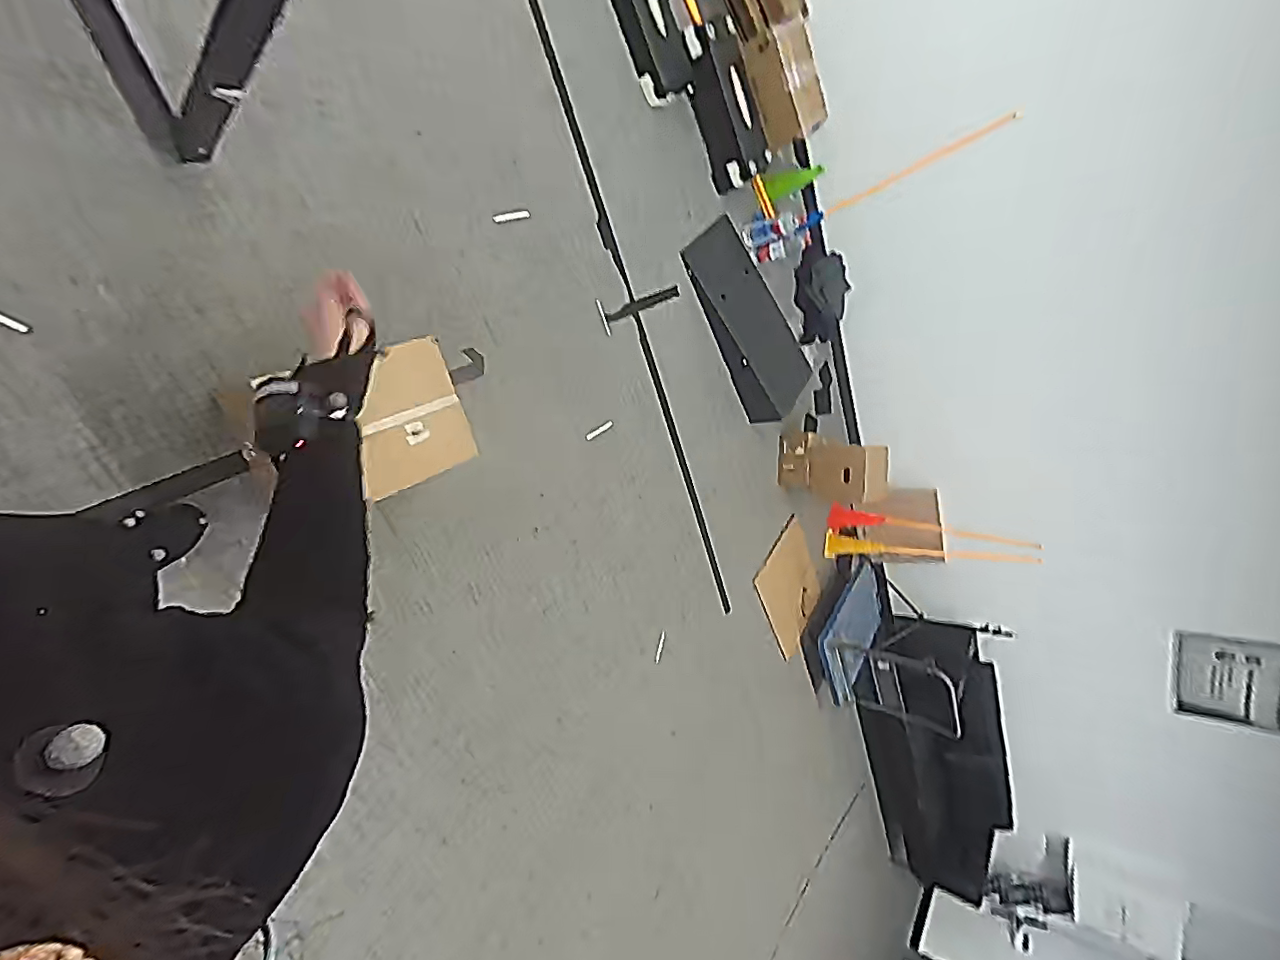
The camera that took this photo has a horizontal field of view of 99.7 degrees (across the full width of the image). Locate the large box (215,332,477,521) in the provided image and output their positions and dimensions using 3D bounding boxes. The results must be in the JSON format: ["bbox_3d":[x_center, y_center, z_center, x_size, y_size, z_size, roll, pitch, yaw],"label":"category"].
[{"bbox_3d":[-0.685,-0.131,1.292,0.408,0.320,0.320,-34,116,-44],"label":"large box"}]
